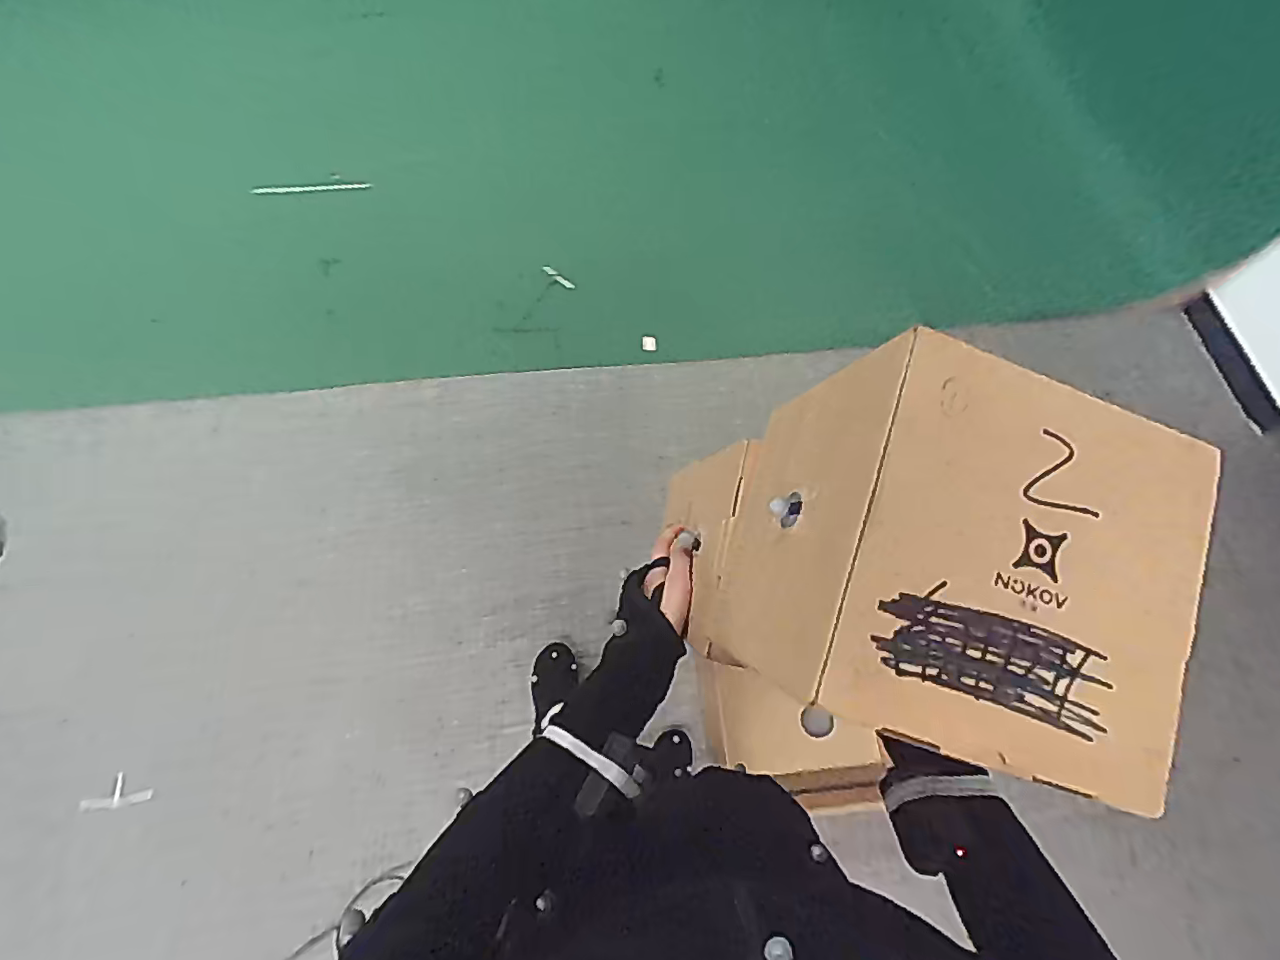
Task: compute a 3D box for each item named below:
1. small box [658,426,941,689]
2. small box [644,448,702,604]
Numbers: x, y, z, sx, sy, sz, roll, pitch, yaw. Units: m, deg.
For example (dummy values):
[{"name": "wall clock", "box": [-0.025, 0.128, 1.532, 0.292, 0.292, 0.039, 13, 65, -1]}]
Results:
[{"name": "small box", "box": [0.121, 0.064, 0.475, 0.179, 0.176, 0.168, 12, 83, -5]}, {"name": "small box", "box": [0.104, 0.073, 0.638, 0.168, 0.176, 0.179, 10, 83, -6]}]
